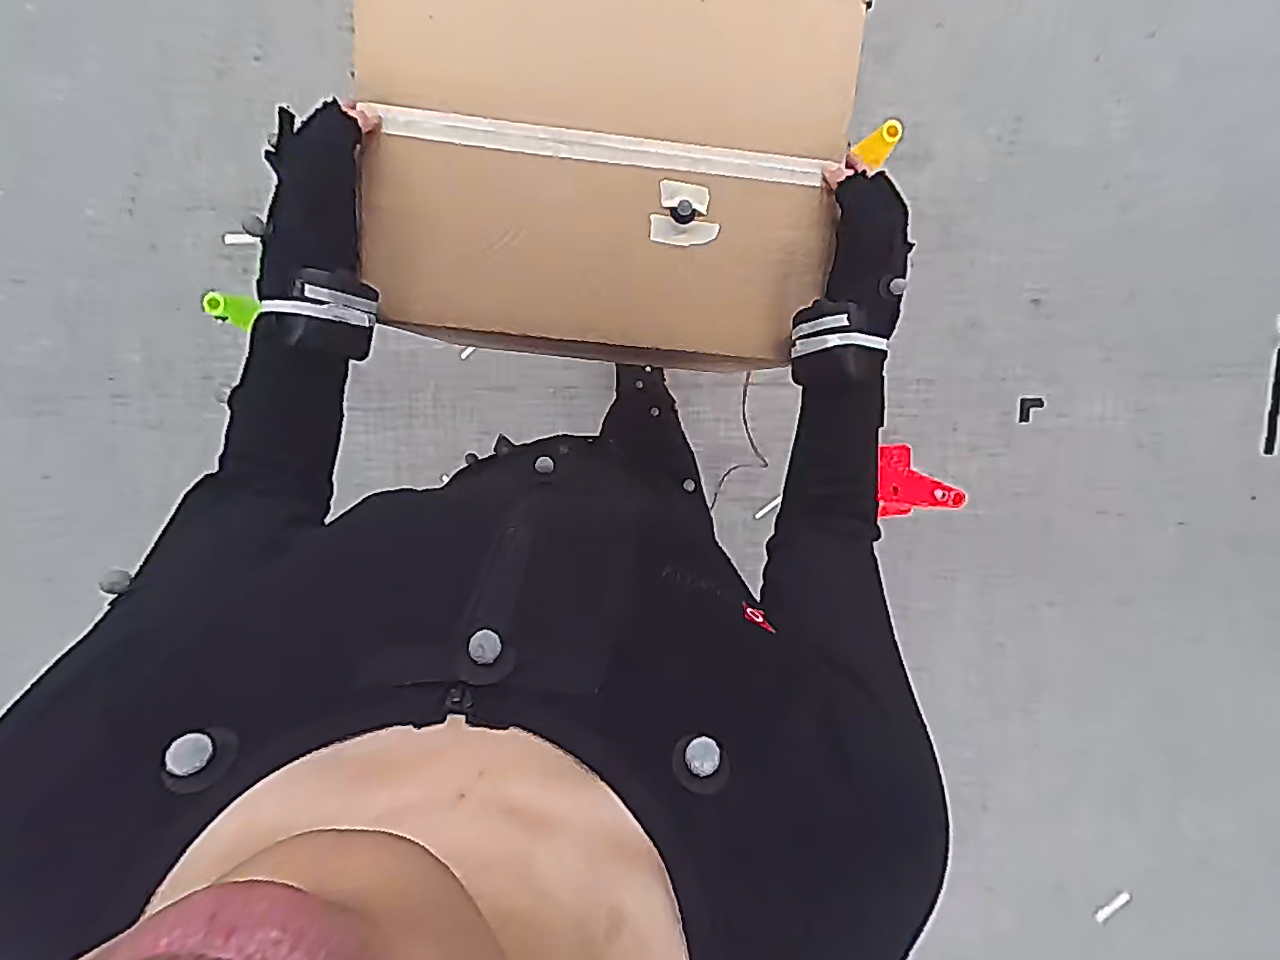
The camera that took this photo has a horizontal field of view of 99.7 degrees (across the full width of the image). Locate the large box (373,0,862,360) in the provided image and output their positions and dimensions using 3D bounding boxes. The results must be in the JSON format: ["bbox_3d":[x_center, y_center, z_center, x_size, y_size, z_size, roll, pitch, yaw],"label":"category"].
[{"bbox_3d":[-0.033,-0.312,0.602,0.408,0.320,0.320,4,100,-6],"label":"large box"}]

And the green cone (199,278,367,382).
[{"bbox_3d":[-0.820,-0.360,1.202,0.202,0.368,0.200,-38,96,3],"label":"green cone"}]

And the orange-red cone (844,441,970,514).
[{"bbox_3d":[0.669,0.008,1.317,0.198,0.360,0.199,-4,95,-3],"label":"orange-red cone"}]
